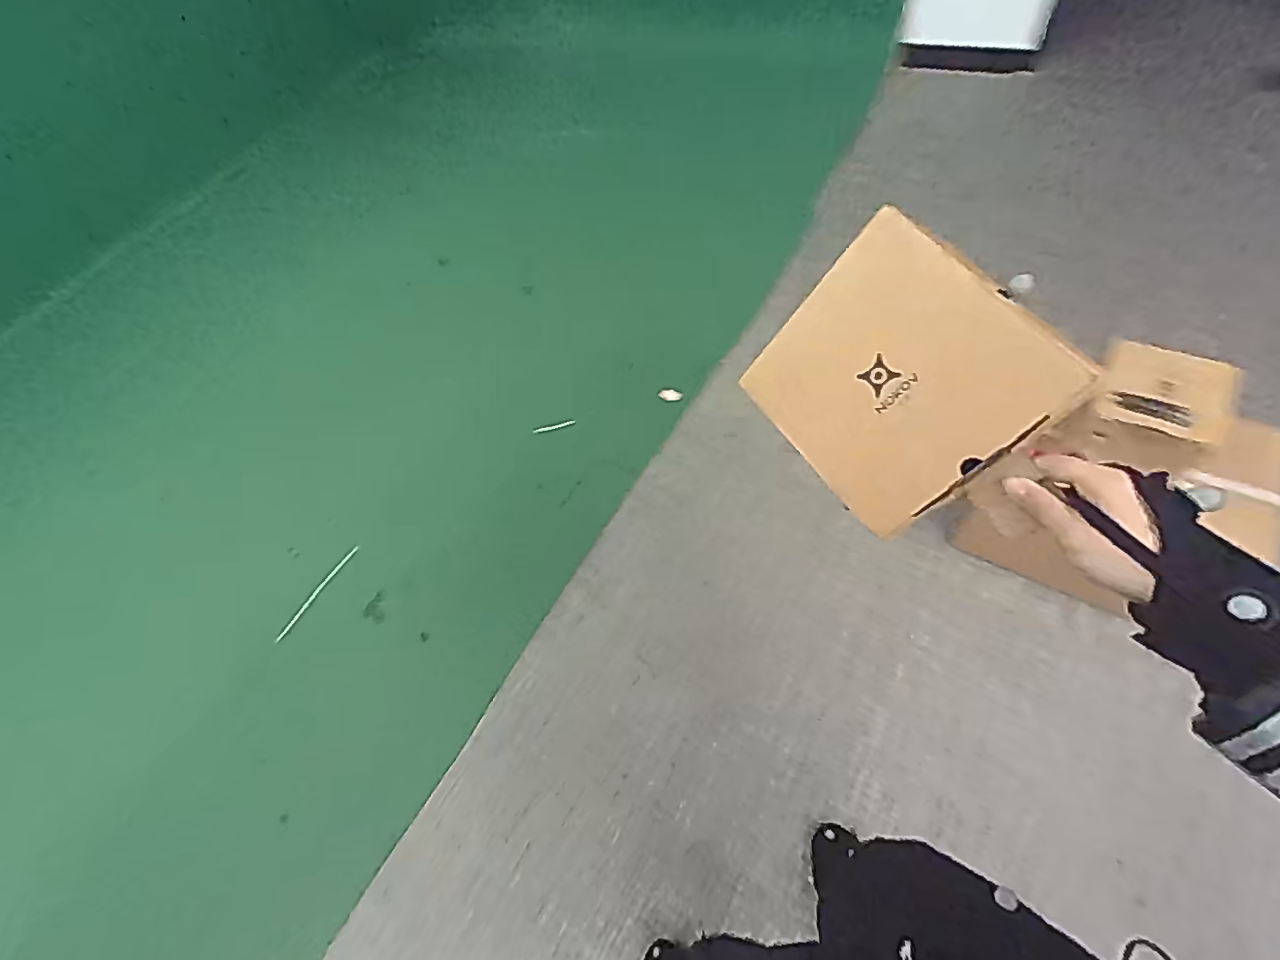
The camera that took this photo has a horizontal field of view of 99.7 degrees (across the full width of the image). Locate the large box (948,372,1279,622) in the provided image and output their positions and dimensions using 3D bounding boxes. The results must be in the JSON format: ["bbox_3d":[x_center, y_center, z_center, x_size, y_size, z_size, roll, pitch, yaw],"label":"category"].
[{"bbox_3d":[0.933,0.038,1.119,0.408,0.320,0.320,24,70,22],"label":"large box"}]
